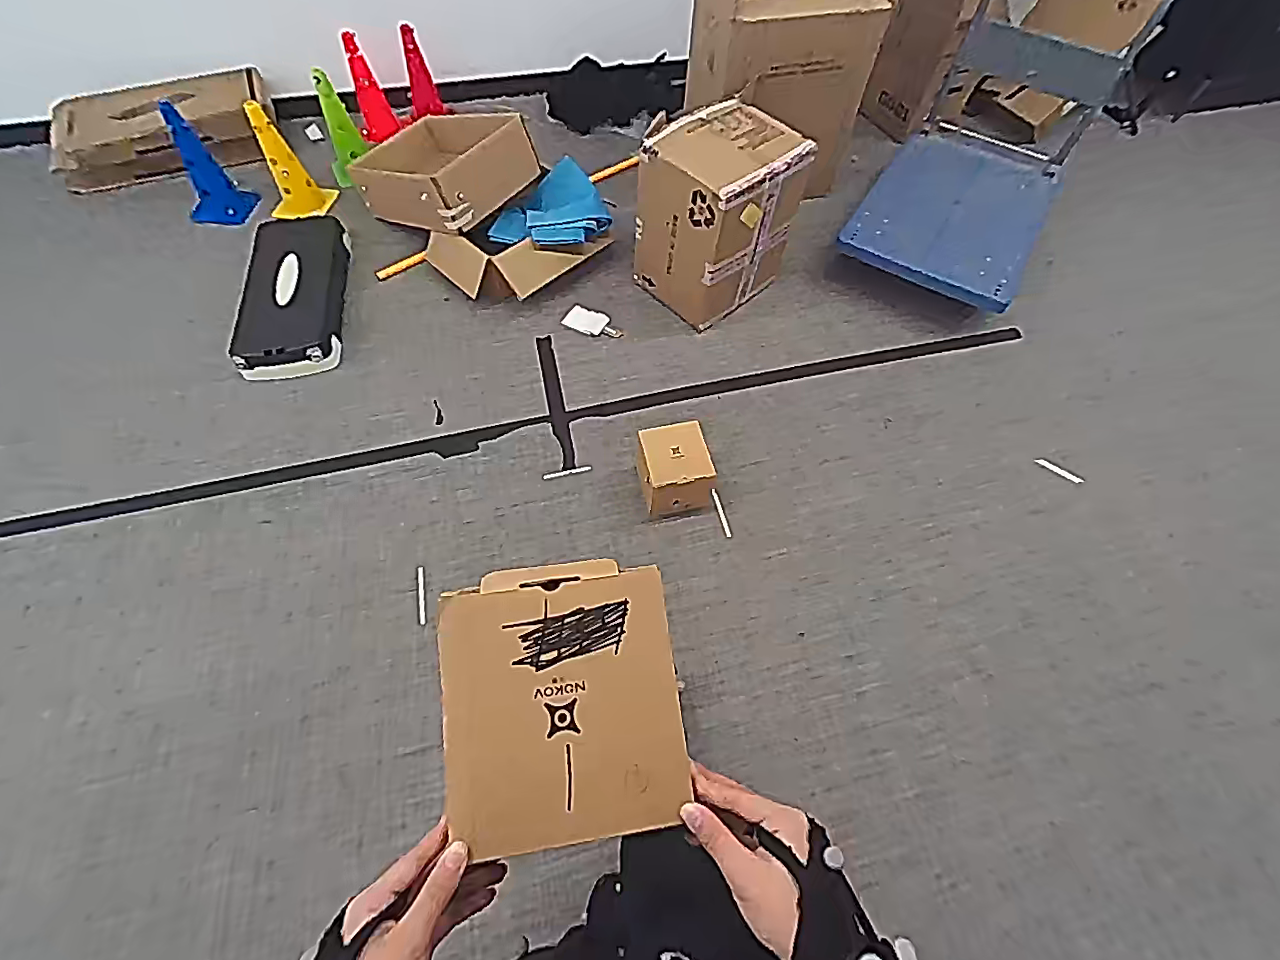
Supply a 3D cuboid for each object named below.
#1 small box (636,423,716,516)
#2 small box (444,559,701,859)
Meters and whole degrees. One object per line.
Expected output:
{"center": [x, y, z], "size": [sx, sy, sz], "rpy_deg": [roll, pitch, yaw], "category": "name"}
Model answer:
{"center": [0.088, -0.025, 1.447], "size": [0.168, 0.176, 0.179], "rpy_deg": [-11, 61, -9], "category": "small box"}
{"center": [-0.057, 0.174, 0.451], "size": [0.168, 0.176, 0.179], "rpy_deg": [-7, 74, -6], "category": "small box"}
